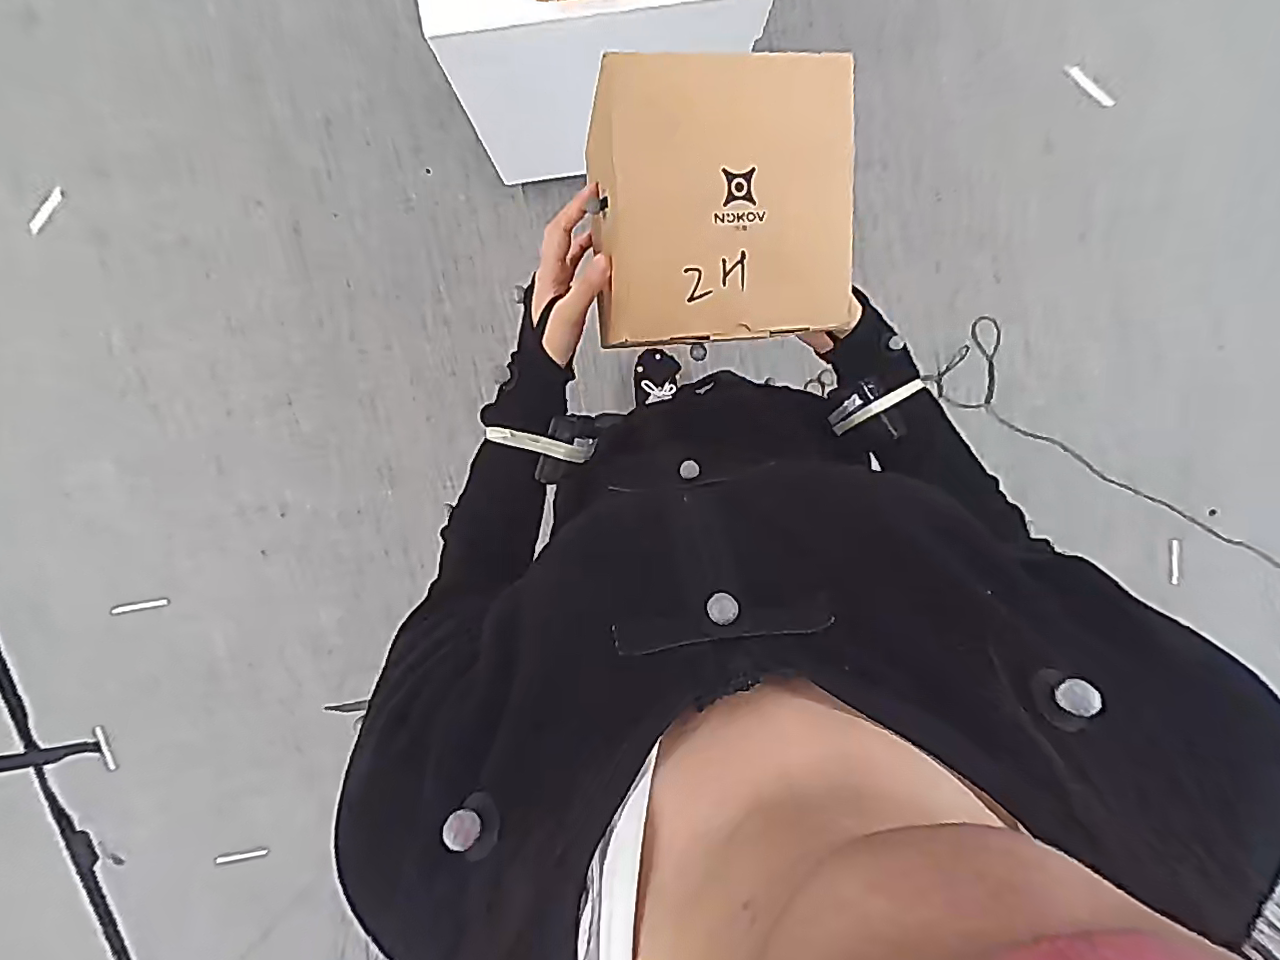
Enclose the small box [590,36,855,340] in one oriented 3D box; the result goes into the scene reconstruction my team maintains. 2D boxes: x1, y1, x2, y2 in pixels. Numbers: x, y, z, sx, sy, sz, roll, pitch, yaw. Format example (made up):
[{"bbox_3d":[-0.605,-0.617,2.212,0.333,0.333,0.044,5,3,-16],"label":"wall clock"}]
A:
[{"bbox_3d":[0.052,-0.211,0.436,0.168,0.176,0.179,-6,104,-7],"label":"small box"}]
